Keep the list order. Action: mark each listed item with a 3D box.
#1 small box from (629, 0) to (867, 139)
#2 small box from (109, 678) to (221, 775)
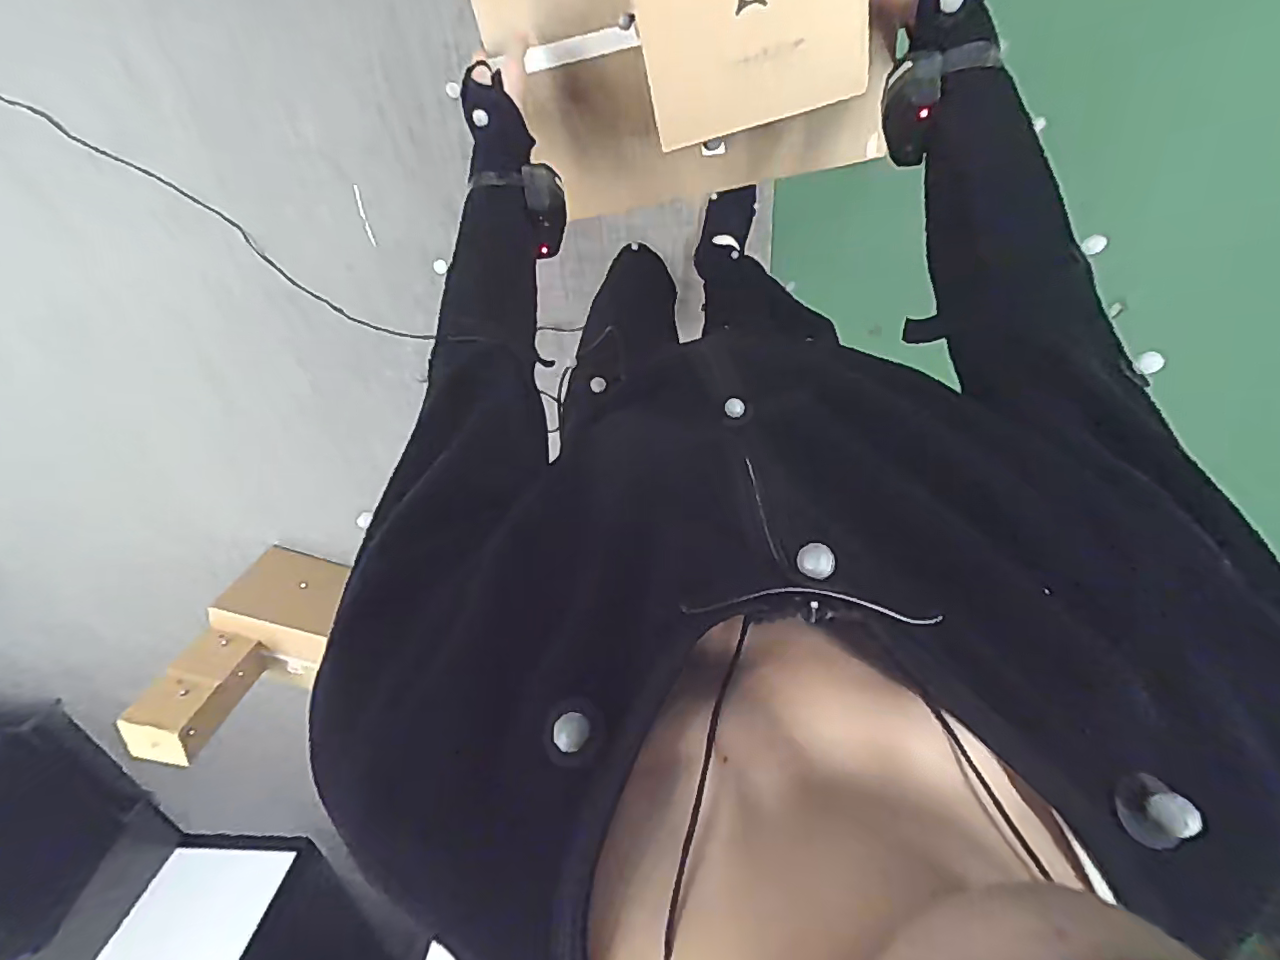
[{"bbox_3d":[0.074,-0.404,0.441,0.168,0.176,0.179,-11,126,9],"label":"small box"},{"bbox_3d":[-1.356,0.709,1.561,0.168,0.176,0.179,14,121,-4],"label":"small box"}]
